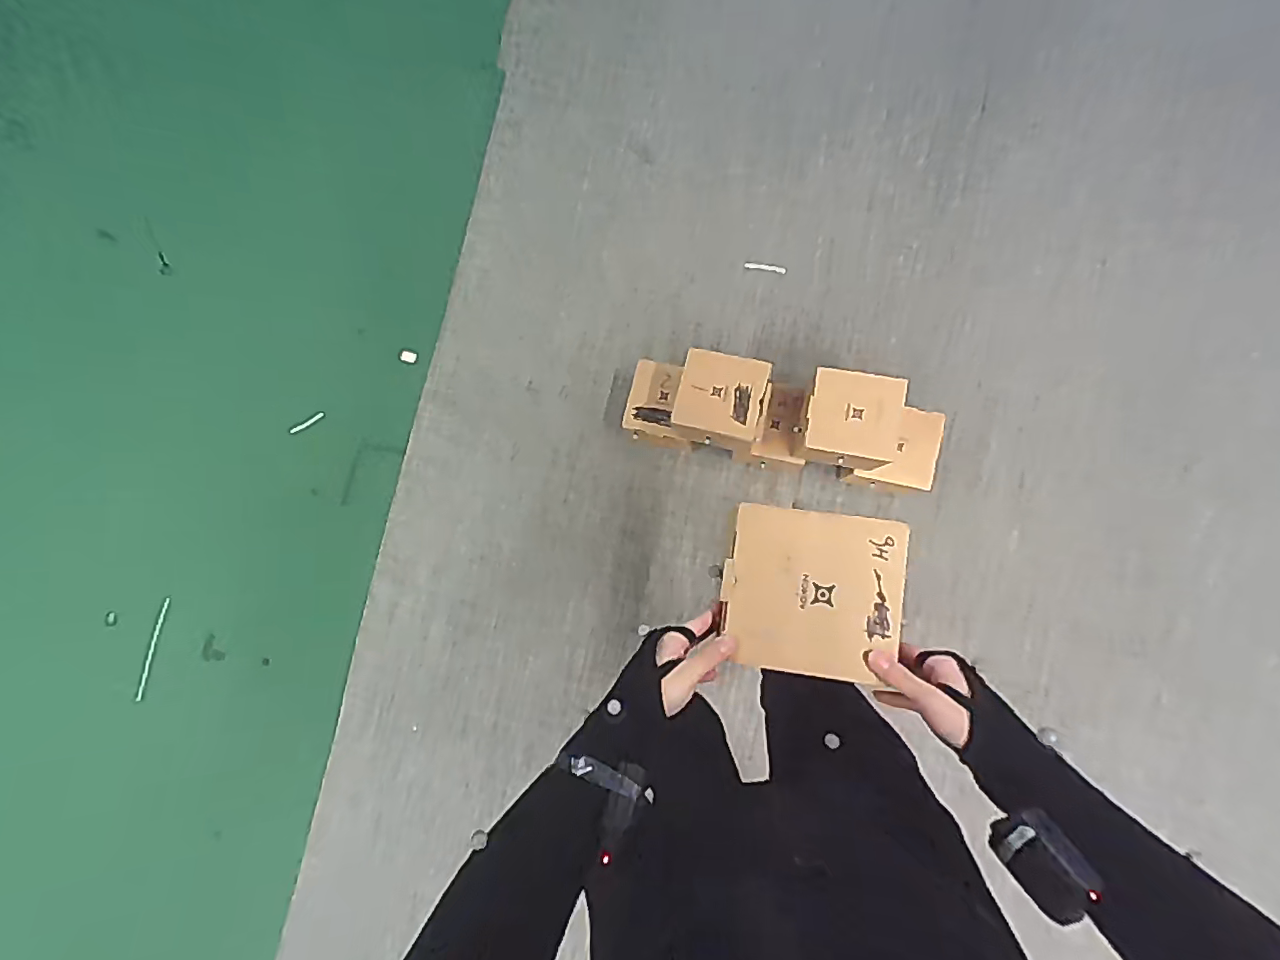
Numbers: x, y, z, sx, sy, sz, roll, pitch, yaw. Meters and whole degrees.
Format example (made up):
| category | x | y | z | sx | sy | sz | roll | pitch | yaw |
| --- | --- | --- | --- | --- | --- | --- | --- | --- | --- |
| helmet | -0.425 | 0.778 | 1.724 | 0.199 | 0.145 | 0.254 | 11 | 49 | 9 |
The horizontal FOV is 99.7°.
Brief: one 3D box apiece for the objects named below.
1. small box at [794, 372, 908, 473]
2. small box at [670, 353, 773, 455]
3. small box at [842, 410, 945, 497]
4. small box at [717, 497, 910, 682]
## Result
| category | x | y | z | sx | sy | sz | roll | pitch | yaw |
| --- | --- | --- | --- | --- | --- | --- | --- | --- | --- |
| small box | 0.430 | -0.113 | 1.133 | 0.179 | 0.176 | 0.168 | 11 | 86 | 8 |
| small box | 0.178 | -0.157 | 1.177 | 0.179 | 0.176 | 0.168 | 14 | 86 | 11 |
| small box | 0.585 | -0.062 | 1.270 | 0.168 | 0.176 | 0.179 | 12 | 86 | 11 |
| small box | 0.186 | 0.117 | 0.629 | 0.179 | 0.176 | 0.168 | 8 | 86 | 7 |
